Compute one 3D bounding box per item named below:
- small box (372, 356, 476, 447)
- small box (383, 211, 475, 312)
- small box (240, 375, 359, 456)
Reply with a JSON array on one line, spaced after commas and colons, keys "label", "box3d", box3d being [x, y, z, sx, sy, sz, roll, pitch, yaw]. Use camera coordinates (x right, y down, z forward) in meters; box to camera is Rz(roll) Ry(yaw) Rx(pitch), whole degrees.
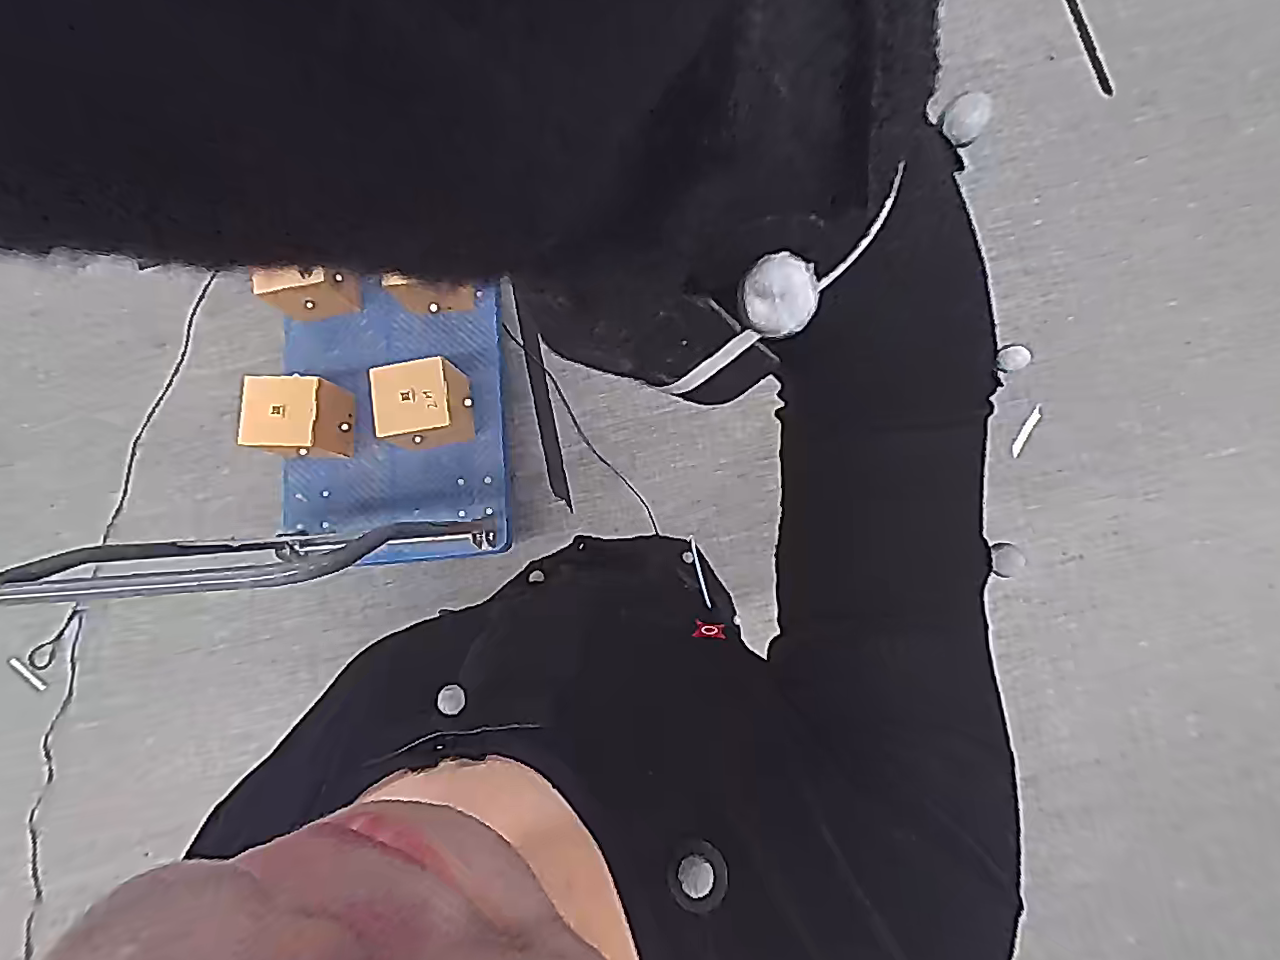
[{"label": "small box", "box3d": [-0.517, -0.183, 1.310, 0.179, 0.176, 0.168, -10, 83, 1]}, {"label": "small box", "box3d": [-0.521, -0.540, 1.350, 0.168, 0.176, 0.179, -4, 85, 2]}, {"label": "small box", "box3d": [-0.823, -0.152, 1.321, 0.179, 0.176, 0.168, 1, 83, 1]}]
